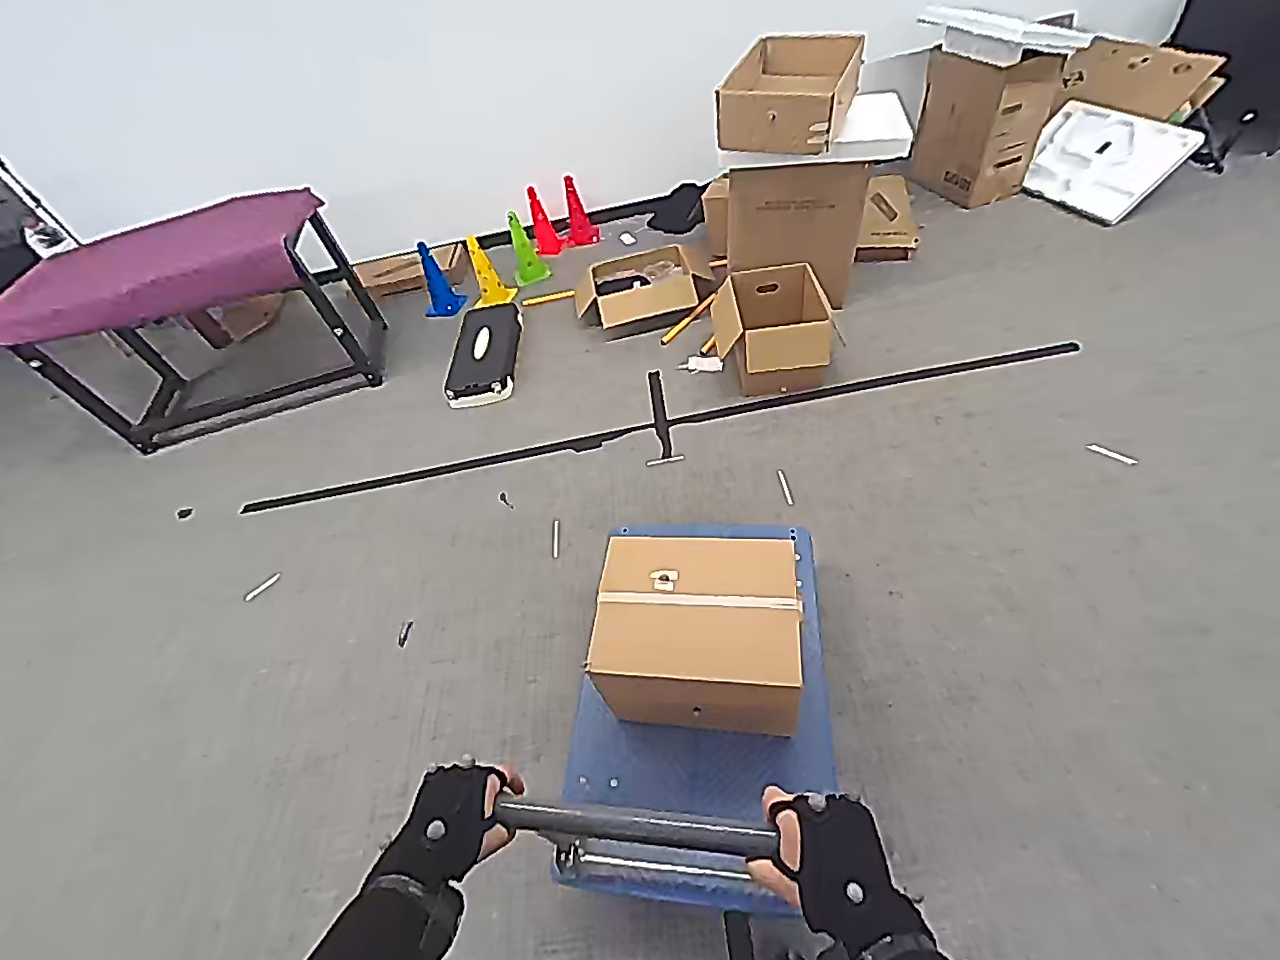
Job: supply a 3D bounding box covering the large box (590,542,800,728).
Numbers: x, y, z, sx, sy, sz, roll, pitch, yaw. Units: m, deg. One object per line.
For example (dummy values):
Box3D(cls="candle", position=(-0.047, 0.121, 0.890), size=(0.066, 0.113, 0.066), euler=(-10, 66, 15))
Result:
Box3D(cls="large box", position=(0.139, 0.354, 1.226), size=(0.408, 0.320, 0.320), euler=(-2, 49, 12))
